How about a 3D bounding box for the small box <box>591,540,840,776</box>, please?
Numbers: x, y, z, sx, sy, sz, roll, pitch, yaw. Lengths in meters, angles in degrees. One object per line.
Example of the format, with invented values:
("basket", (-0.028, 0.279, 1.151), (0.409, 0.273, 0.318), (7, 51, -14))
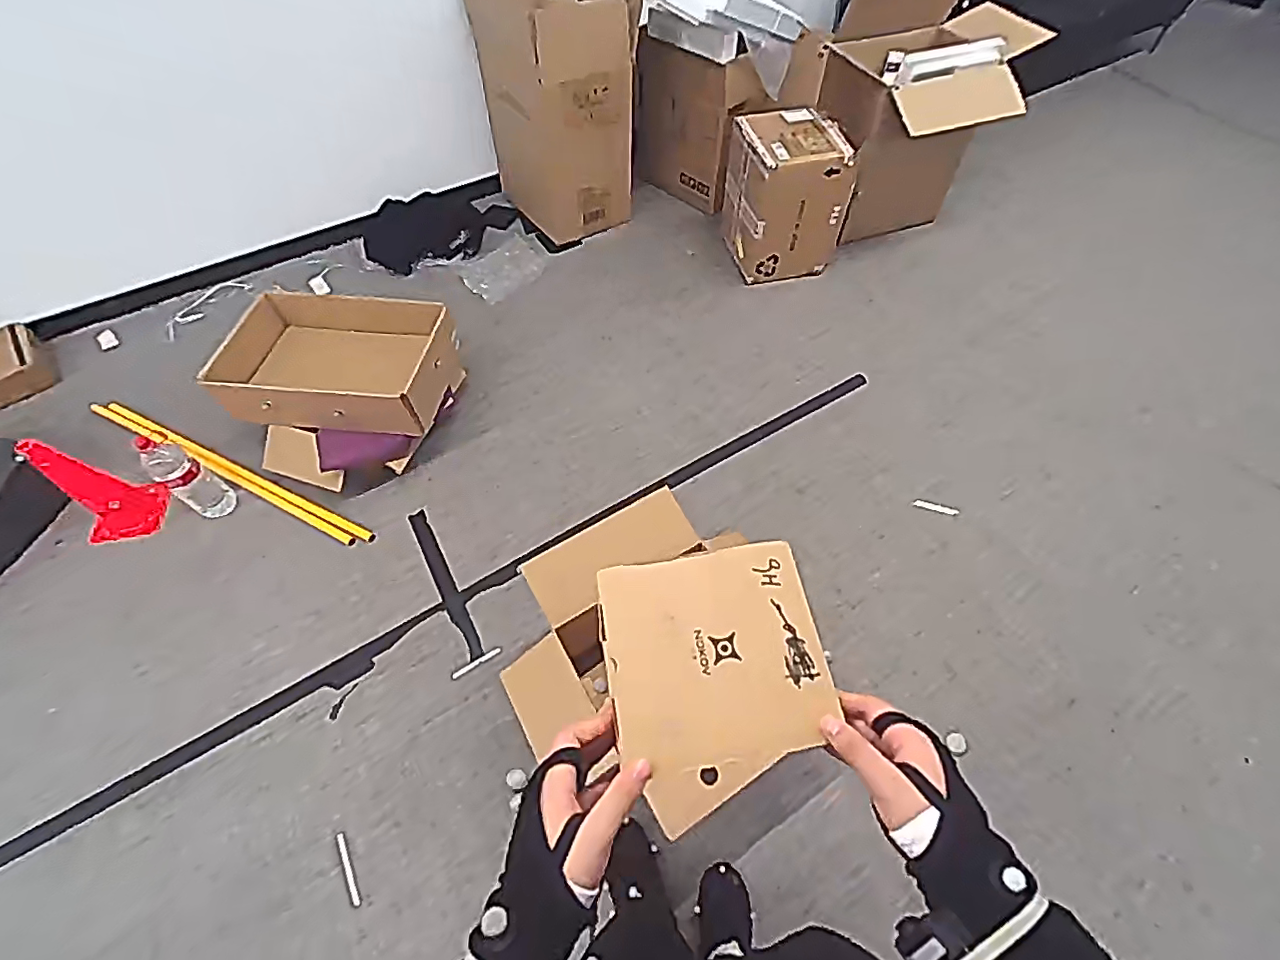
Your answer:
("small box", (0.057, 0.175, 0.510), (0.179, 0.176, 0.168), (-9, 62, -4))
